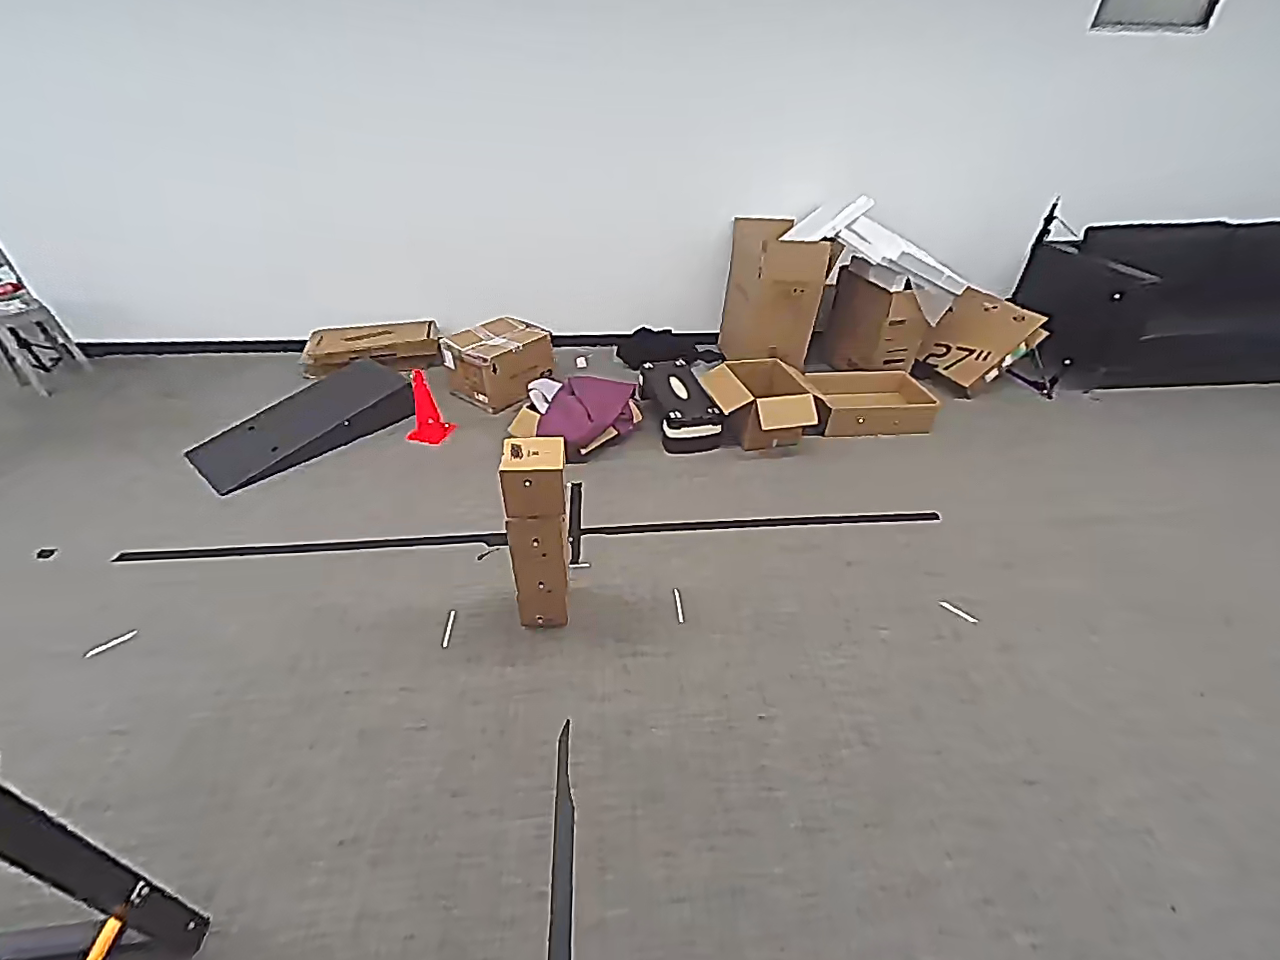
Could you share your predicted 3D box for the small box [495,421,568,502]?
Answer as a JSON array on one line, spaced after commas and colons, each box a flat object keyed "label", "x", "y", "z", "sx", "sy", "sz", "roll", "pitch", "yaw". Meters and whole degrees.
[{"label": "small box", "x": -0.297, "y": -0.050, "z": 1.510, "sx": 0.179, "sy": 0.176, "sz": 0.168, "roll": -3, "pitch": 37, "yaw": -6}]

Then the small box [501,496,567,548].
[{"label": "small box", "x": -0.307, "y": 0.089, "z": 1.601, "sx": 0.168, "sy": 0.176, "sz": 0.179, "roll": -2, "pitch": 38, "yaw": -4}]

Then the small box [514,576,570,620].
[{"label": "small box", "x": -0.322, "y": 0.344, "z": 1.807, "sx": 0.168, "sy": 0.176, "sz": 0.179, "roll": -3, "pitch": 39, "yaw": -5}]

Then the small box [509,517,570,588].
[{"label": "small box", "x": -0.310, "y": 0.218, "z": 1.701, "sx": 0.168, "sy": 0.176, "sz": 0.179, "roll": -3, "pitch": 37, "yaw": -4}]
